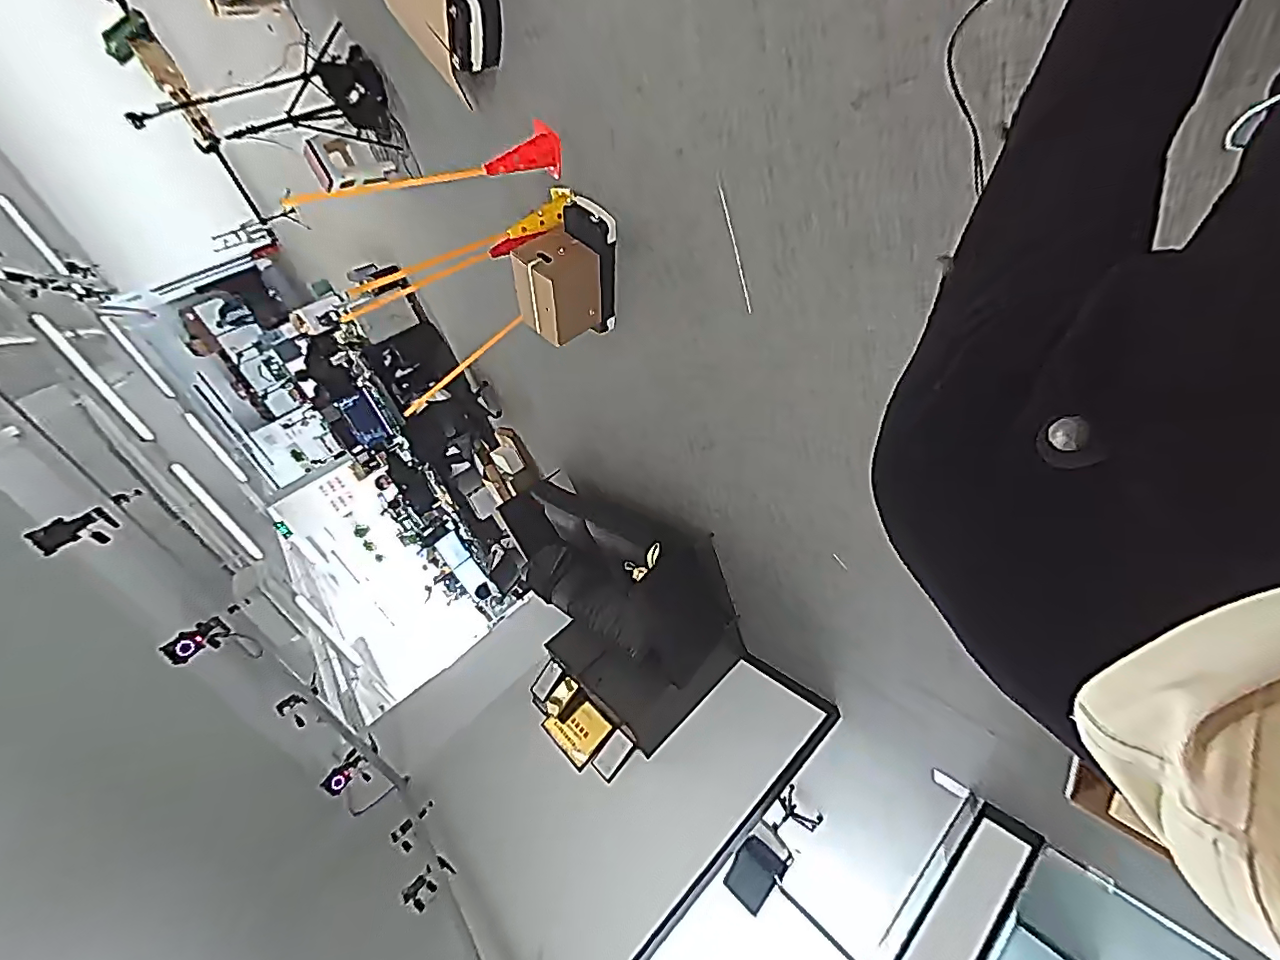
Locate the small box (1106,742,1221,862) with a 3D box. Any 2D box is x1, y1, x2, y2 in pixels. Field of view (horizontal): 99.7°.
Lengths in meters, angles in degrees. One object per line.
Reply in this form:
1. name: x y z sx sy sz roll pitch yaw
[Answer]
1. small box: 1.365 0.834 1.412 0.168 0.176 0.179 25 142 48
